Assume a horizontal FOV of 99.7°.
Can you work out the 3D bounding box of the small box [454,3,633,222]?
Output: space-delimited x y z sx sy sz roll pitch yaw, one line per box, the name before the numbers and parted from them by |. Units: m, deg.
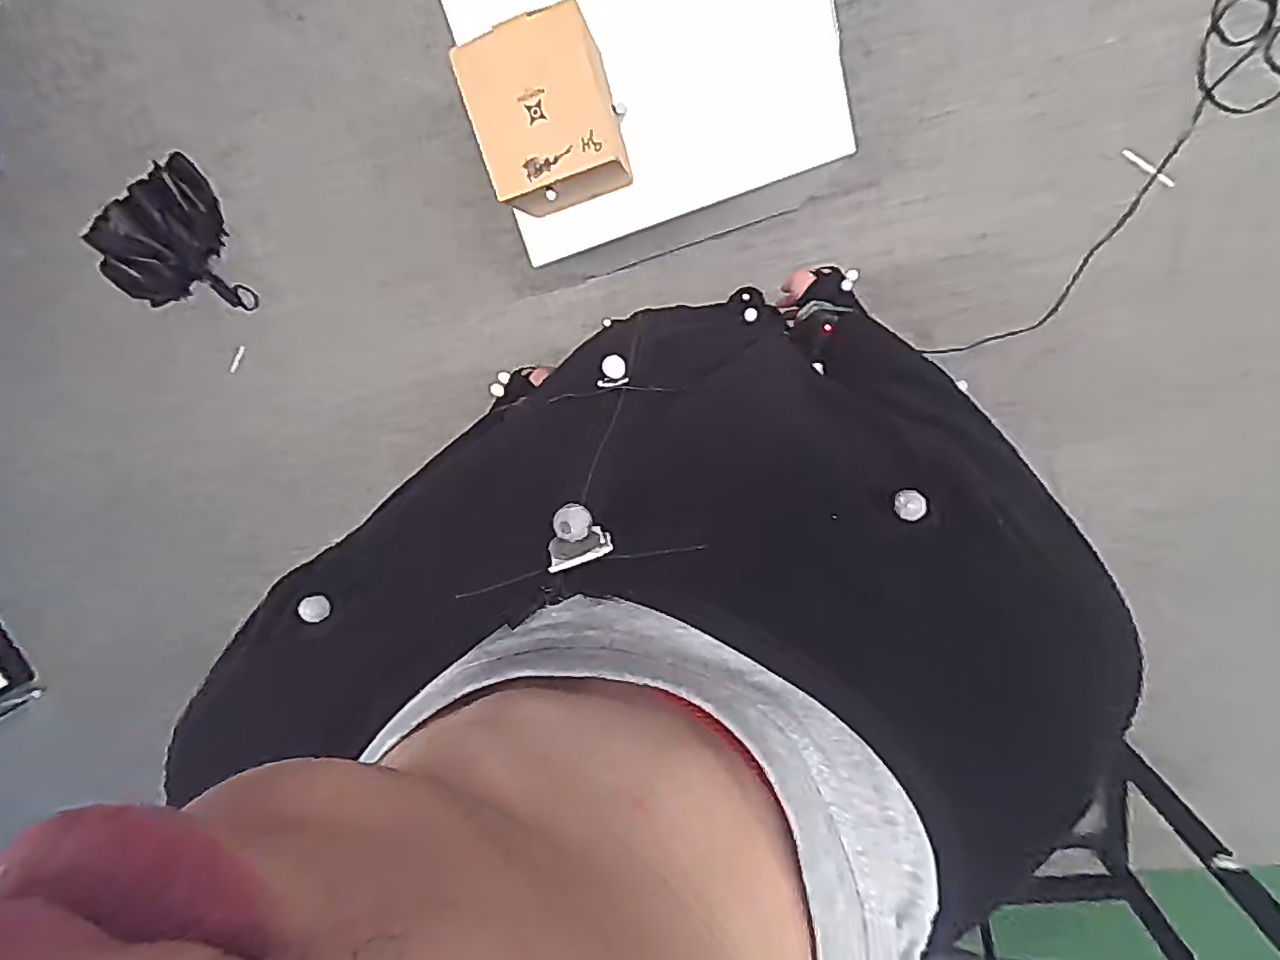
small box | -0.117 -0.476 0.734 0.168 0.176 0.179 -15 105 11
